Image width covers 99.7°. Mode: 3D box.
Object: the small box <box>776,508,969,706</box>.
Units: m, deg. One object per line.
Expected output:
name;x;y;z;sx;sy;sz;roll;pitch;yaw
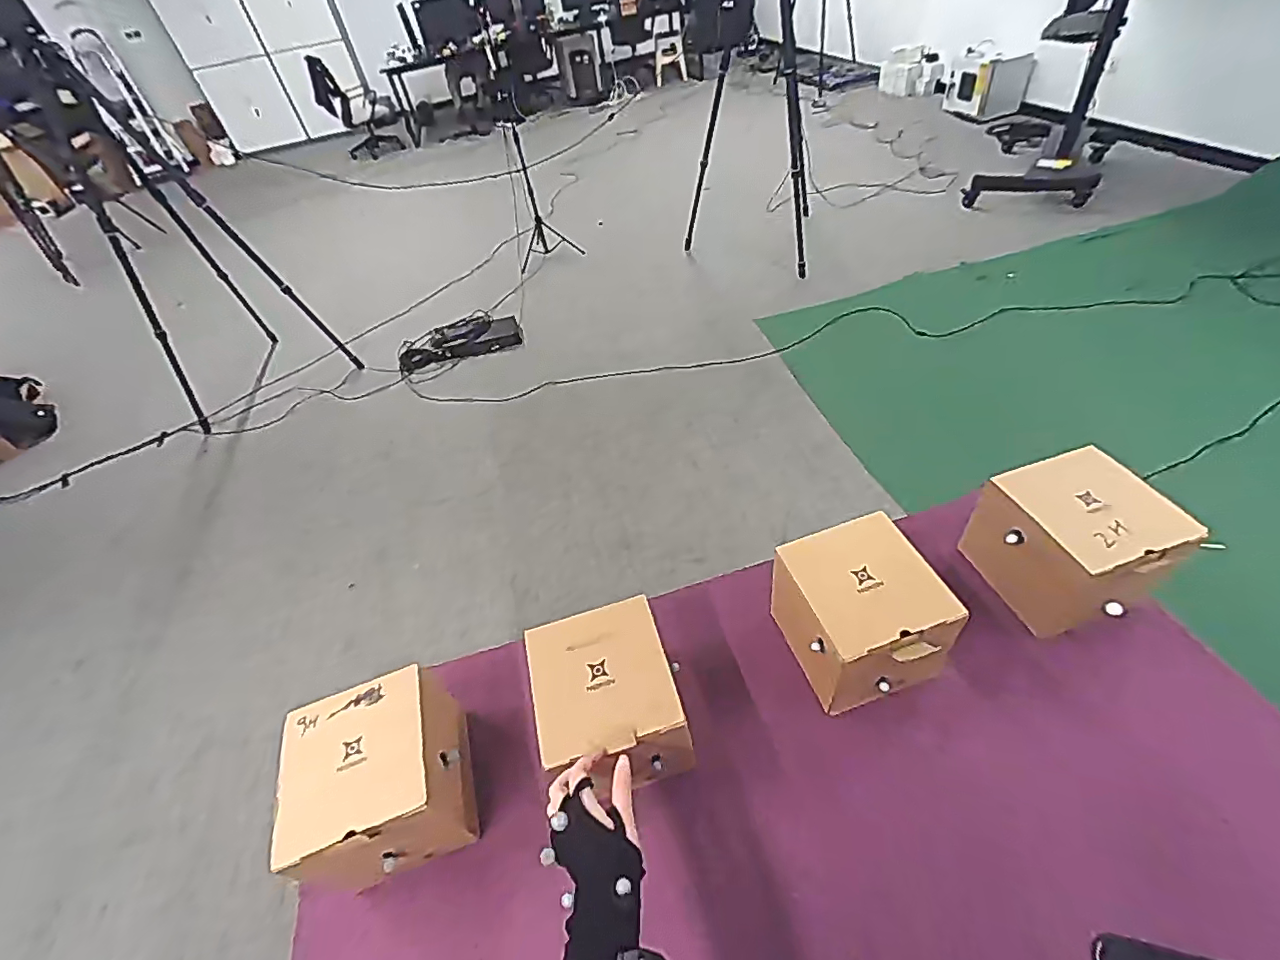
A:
small box;0.296;0.174;0.739;0.168;0.176;0.179;-19;47;-6

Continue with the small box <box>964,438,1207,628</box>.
small box;0.598;0.076;0.761;0.168;0.176;0.179;-18;47;-4

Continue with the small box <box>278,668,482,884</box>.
small box;-0.311;0.374;0.676;0.168;0.176;0.179;-20;47;-8

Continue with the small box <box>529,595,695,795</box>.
small box;-0.033;0.285;0.704;0.168;0.176;0.179;-16;46;-5
